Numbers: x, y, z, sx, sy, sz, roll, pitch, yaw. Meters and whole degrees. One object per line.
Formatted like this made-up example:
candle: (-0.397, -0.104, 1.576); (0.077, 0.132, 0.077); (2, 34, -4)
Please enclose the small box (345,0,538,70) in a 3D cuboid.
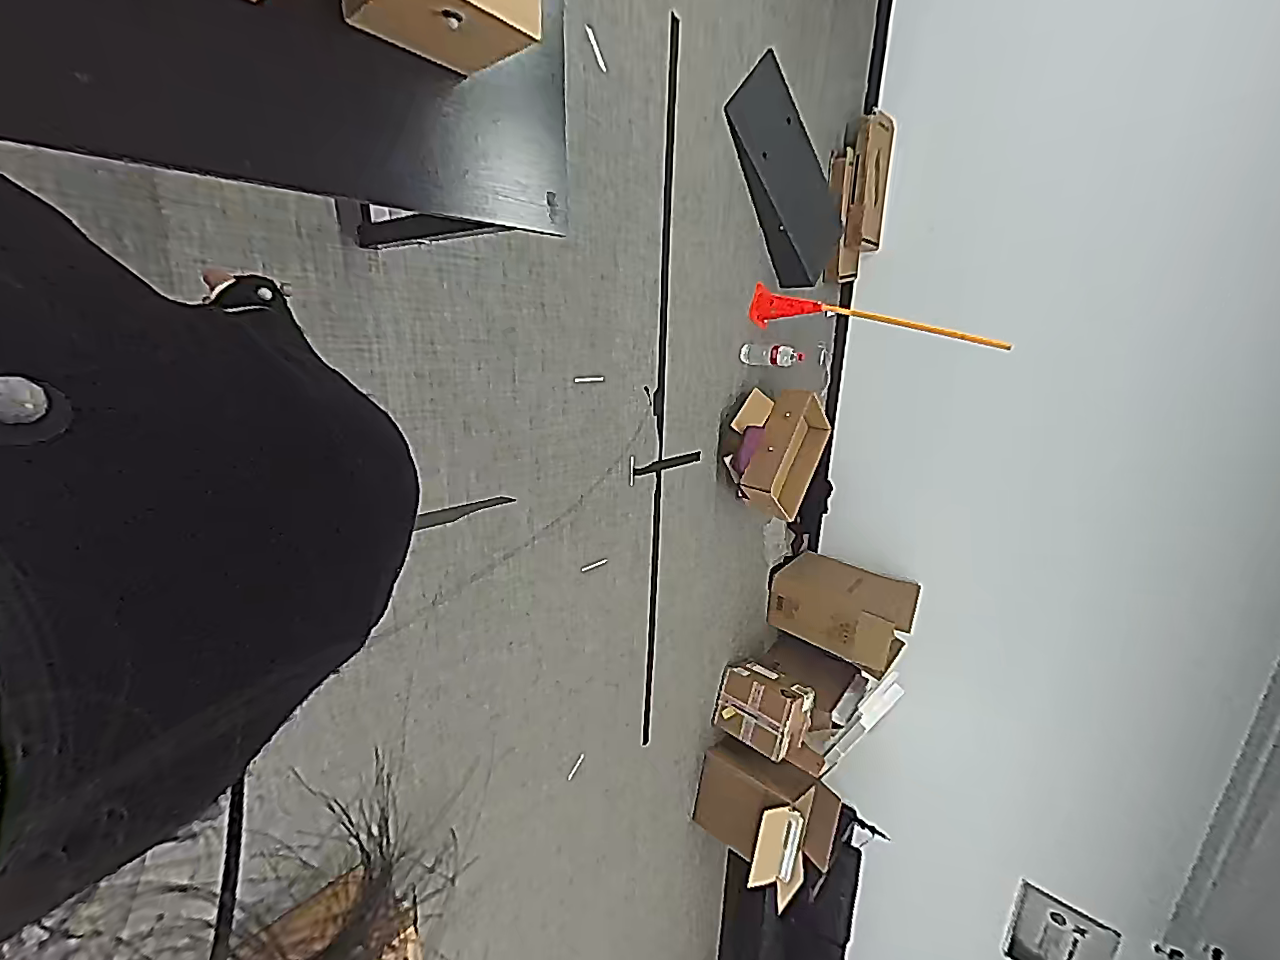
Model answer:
small box: (-0.246, -0.641, 0.660); (0.179, 0.176, 0.168); (-14, 112, -48)
